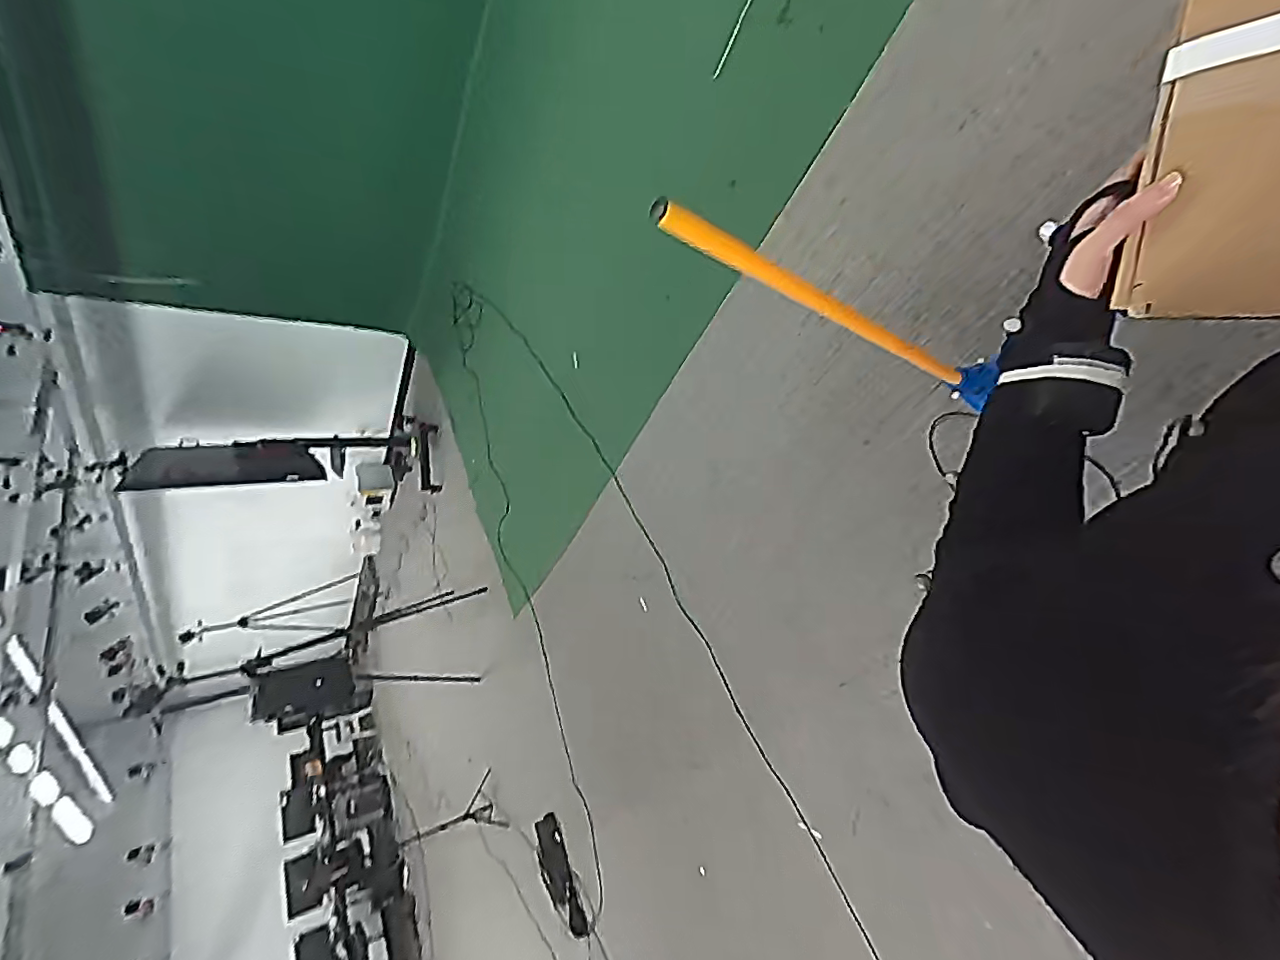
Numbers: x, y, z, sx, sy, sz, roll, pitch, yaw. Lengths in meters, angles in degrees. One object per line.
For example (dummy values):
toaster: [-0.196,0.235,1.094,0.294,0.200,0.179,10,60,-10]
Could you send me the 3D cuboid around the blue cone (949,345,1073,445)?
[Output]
blue cone: [0.774,-0.204,1.203,0.193,0.380,0.192,-57,51,35]
